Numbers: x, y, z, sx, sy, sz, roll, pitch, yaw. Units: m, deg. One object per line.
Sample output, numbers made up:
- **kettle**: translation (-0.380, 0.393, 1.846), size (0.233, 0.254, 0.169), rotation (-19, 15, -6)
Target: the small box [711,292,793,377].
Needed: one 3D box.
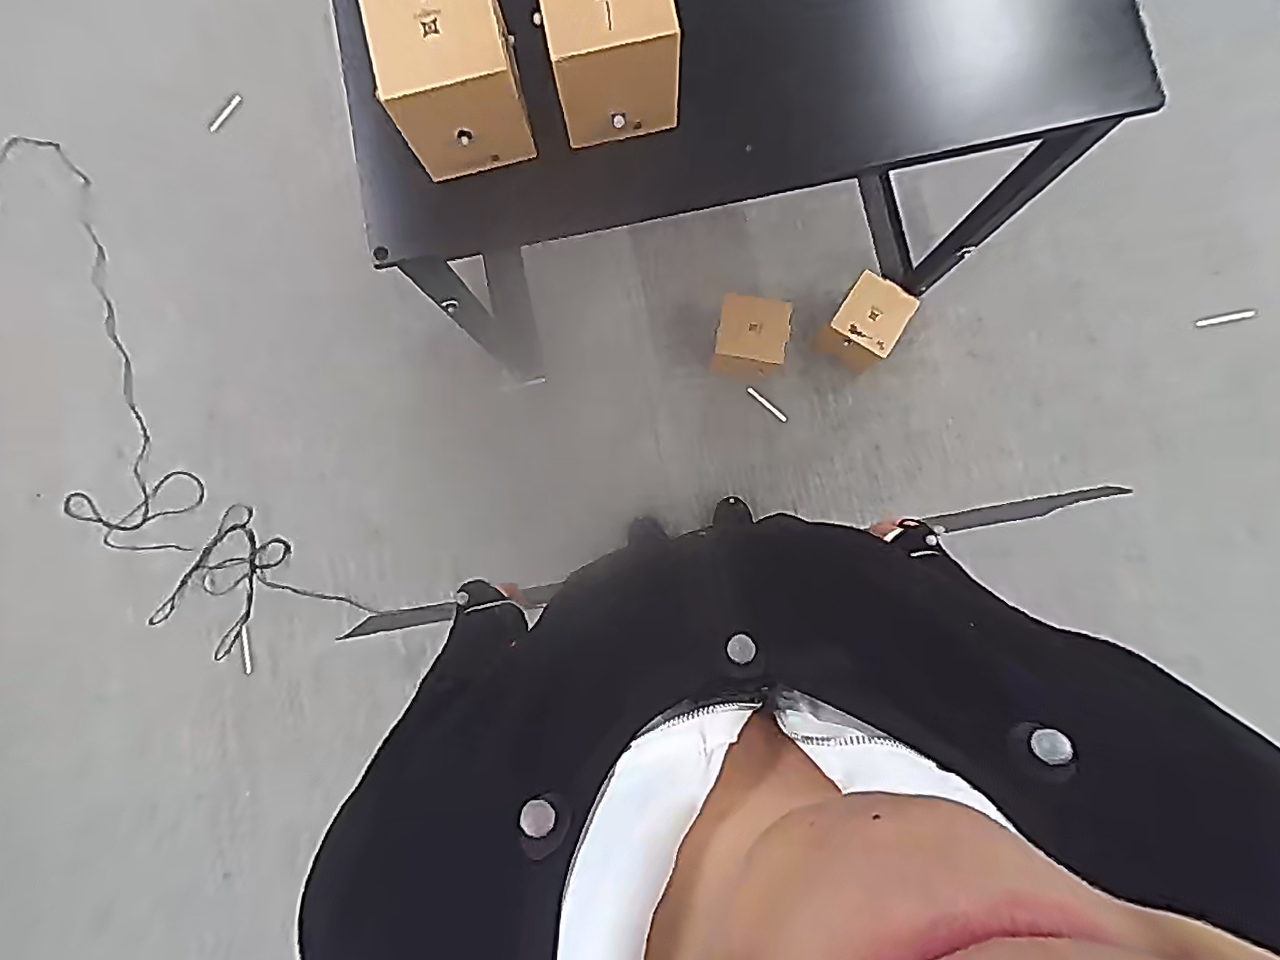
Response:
- **small box**: translation (0.294, -0.385, 1.457), size (0.179, 0.176, 0.168), rotation (10, 86, 4)

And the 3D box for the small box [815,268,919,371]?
- **small box**: translation (0.596, -0.420, 1.444), size (0.168, 0.176, 0.179), rotation (33, 88, 4)

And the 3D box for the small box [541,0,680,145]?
- **small box**: translation (-0.043, -0.615, 0.754), size (0.168, 0.176, 0.179), rotation (-11, 86, 2)
